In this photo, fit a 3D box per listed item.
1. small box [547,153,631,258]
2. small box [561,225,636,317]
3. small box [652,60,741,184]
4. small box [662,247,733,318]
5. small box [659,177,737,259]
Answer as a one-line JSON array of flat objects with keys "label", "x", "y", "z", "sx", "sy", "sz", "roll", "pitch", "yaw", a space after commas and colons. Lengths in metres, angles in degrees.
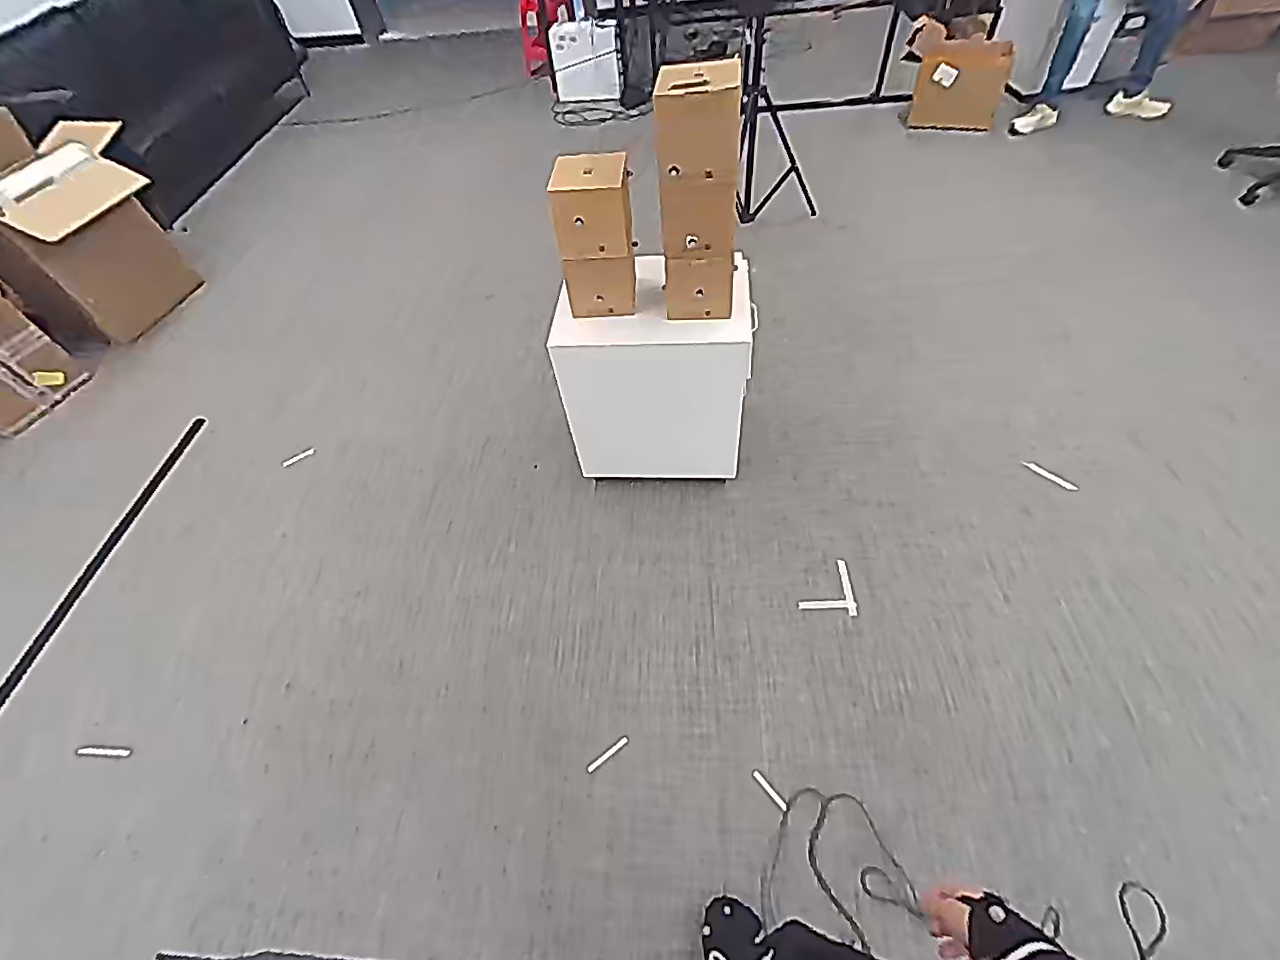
[{"label": "small box", "x": -0.111, "y": -0.642, "z": 1.279, "sx": 0.168, "sy": 0.176, "sz": 0.179, "roll": -1, "pitch": 52, "yaw": 5}, {"label": "small box", "x": -0.101, "y": -0.547, "z": 1.410, "sx": 0.168, "sy": 0.176, "sz": 0.179, "roll": -1, "pitch": 53, "yaw": 5}, {"label": "small box", "x": 0.122, "y": -0.729, "z": 1.114, "sx": 0.168, "sy": 0.176, "sz": 0.179, "roll": 2, "pitch": 52, "yaw": 9}, {"label": "small box", "x": 0.151, "y": -0.527, "z": 1.370, "sx": 0.168, "sy": 0.176, "sz": 0.179, "roll": 0, "pitch": 54, "yaw": 8}, {"label": "small box", "x": 0.137, "y": -0.632, "z": 1.246, "sx": 0.168, "sy": 0.176, "sz": 0.179, "roll": 0, "pitch": 54, "yaw": 8}]
